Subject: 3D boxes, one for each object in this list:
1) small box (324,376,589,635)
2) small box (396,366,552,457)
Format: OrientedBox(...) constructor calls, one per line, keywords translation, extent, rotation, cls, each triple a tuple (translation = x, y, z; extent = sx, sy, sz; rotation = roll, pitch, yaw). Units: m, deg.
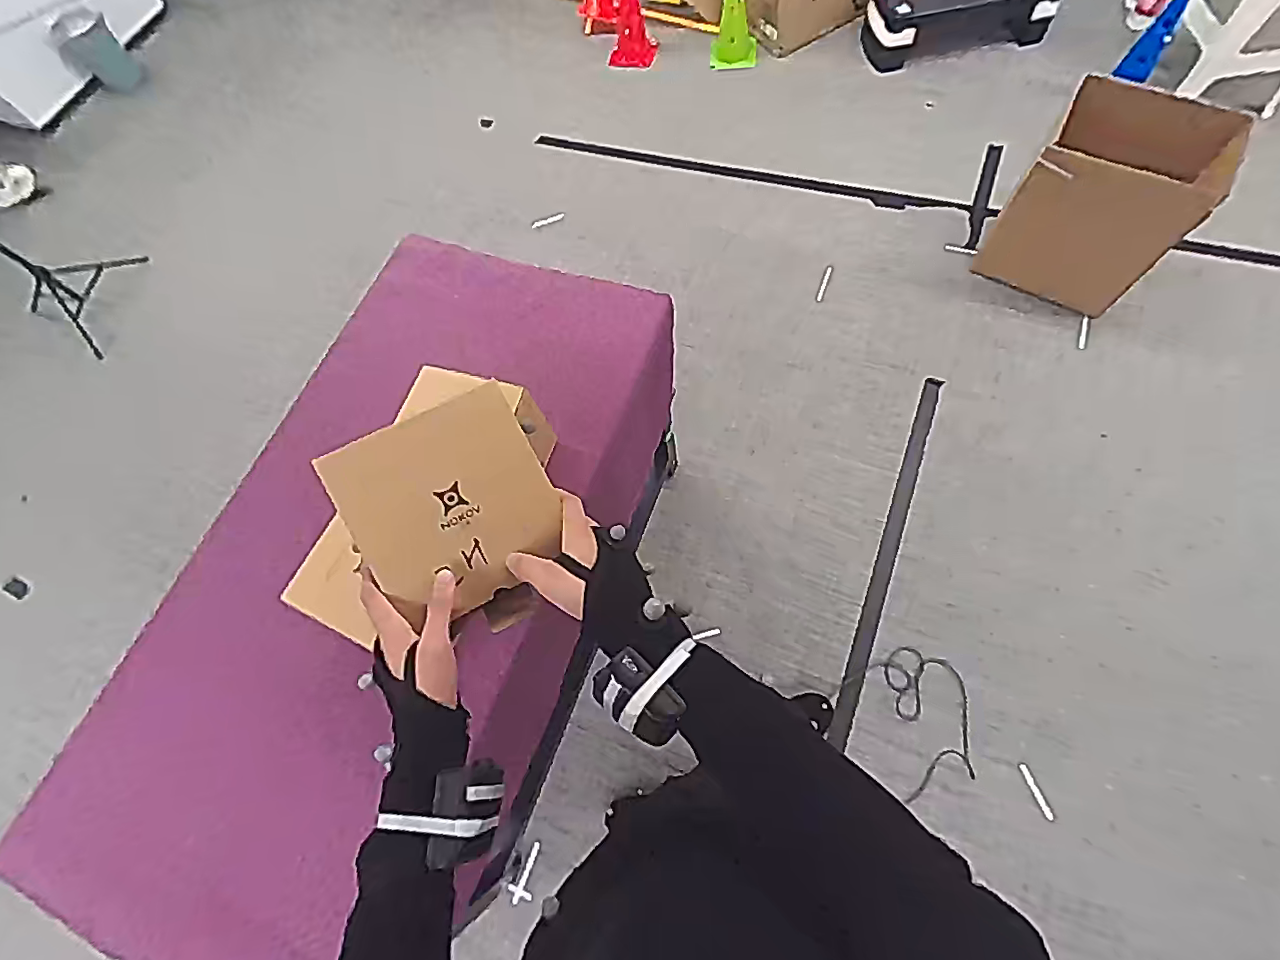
OrientedBox(translation=(-0.170, 0.025, 0.540), extent=(0.168, 0.176, 0.179), rotation=(-27, 92, -12), cls="small box")
OrientedBox(translation=(-0.257, -0.049, 0.841), extent=(0.179, 0.176, 0.168), rotation=(14, 71, 14), cls="small box")
